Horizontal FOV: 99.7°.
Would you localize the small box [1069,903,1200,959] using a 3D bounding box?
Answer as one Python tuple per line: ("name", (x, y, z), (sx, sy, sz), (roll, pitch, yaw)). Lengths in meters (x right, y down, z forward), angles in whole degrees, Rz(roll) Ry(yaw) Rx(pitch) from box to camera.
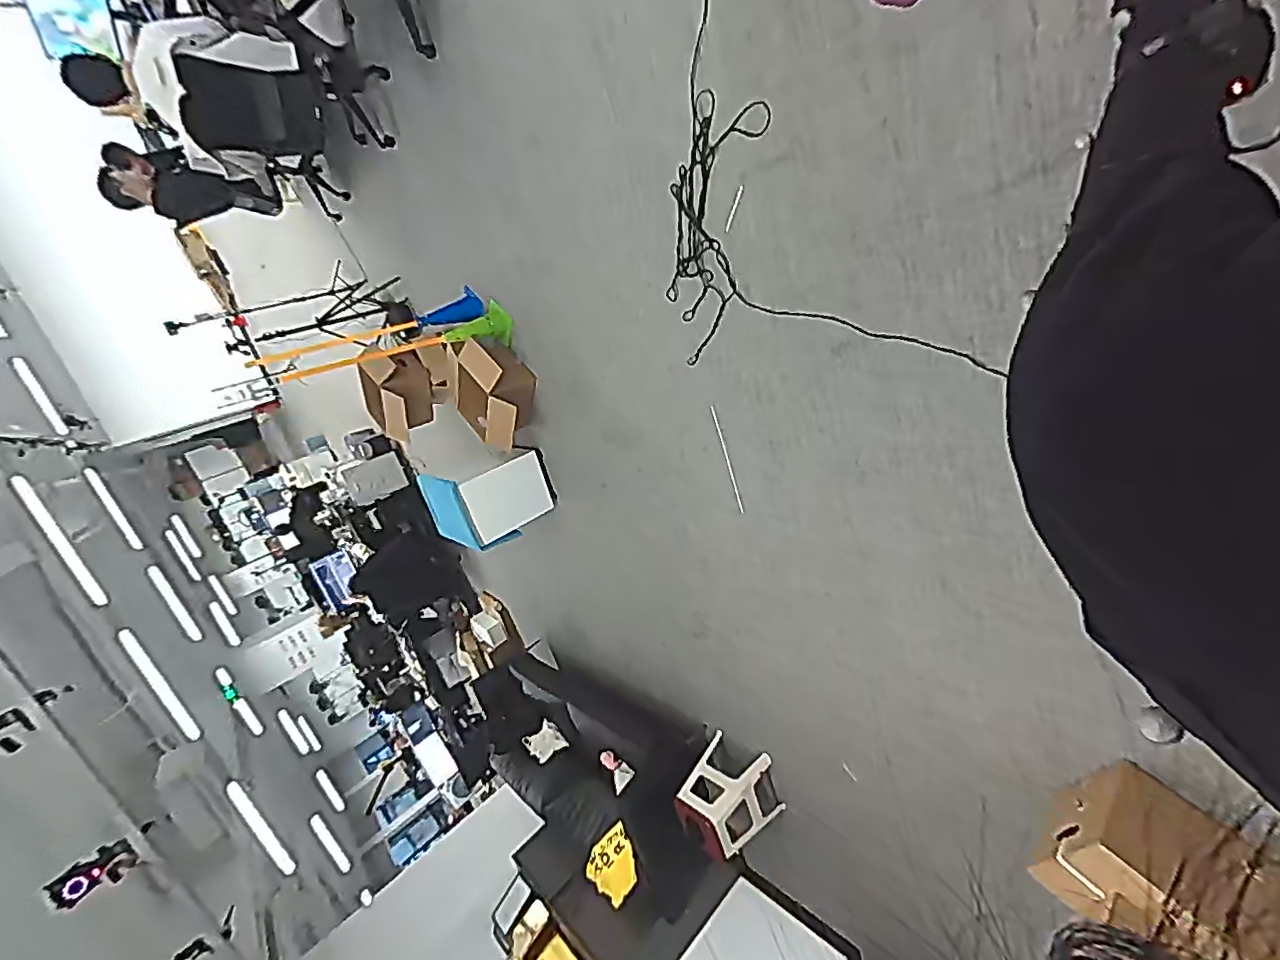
("small box", (1.200, 1.177, 1.313), (0.179, 0.176, 0.168), (36, 140, 32))
